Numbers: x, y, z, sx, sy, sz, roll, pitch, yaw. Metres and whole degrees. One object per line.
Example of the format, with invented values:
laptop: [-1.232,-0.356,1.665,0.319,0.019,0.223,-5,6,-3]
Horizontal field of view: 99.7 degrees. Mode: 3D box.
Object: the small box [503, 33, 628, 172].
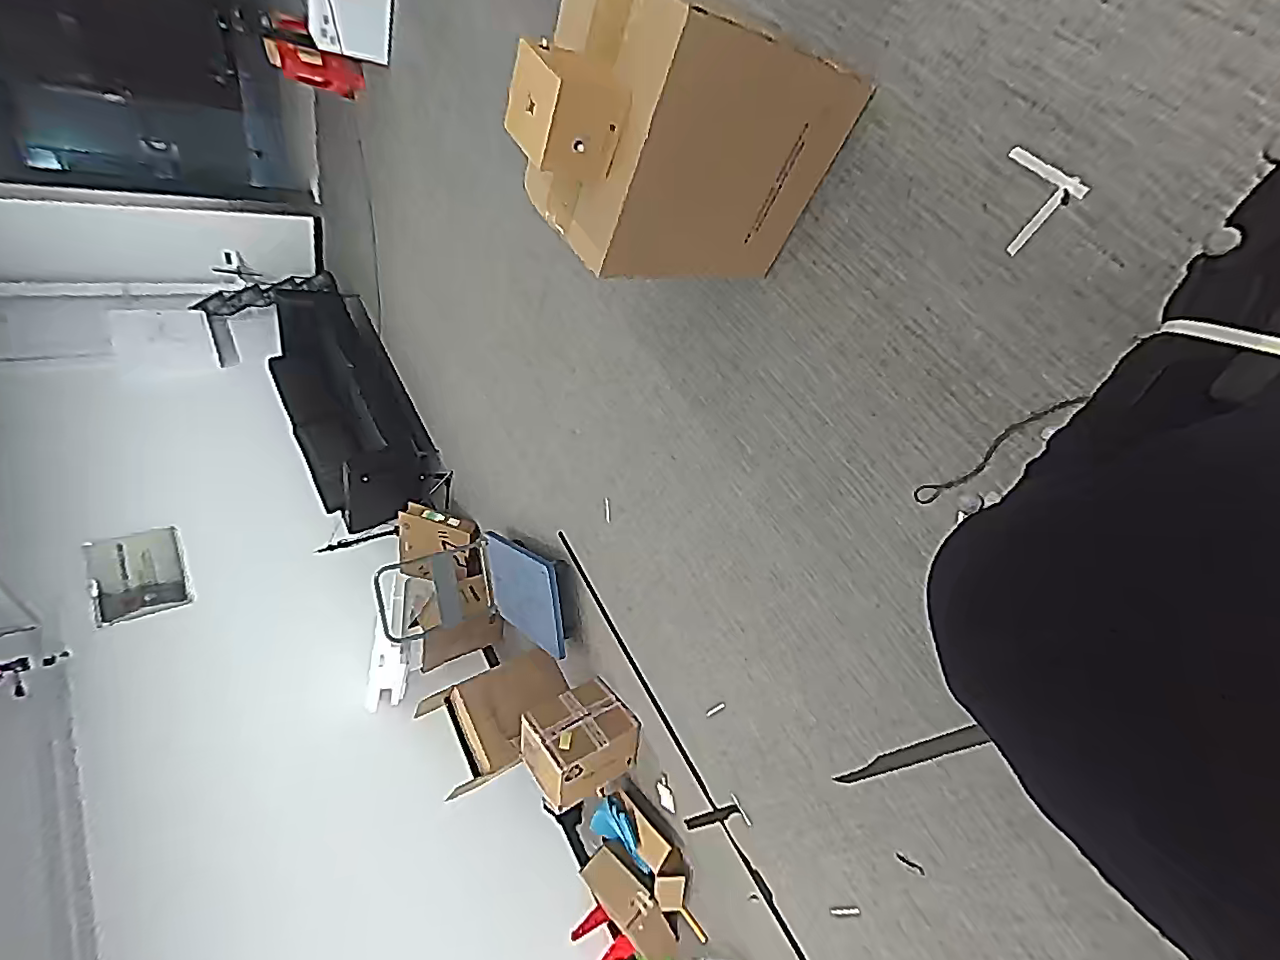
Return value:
small box: [-0.150,-0.744,1.084,0.179,0.176,0.168,57,141,23]
